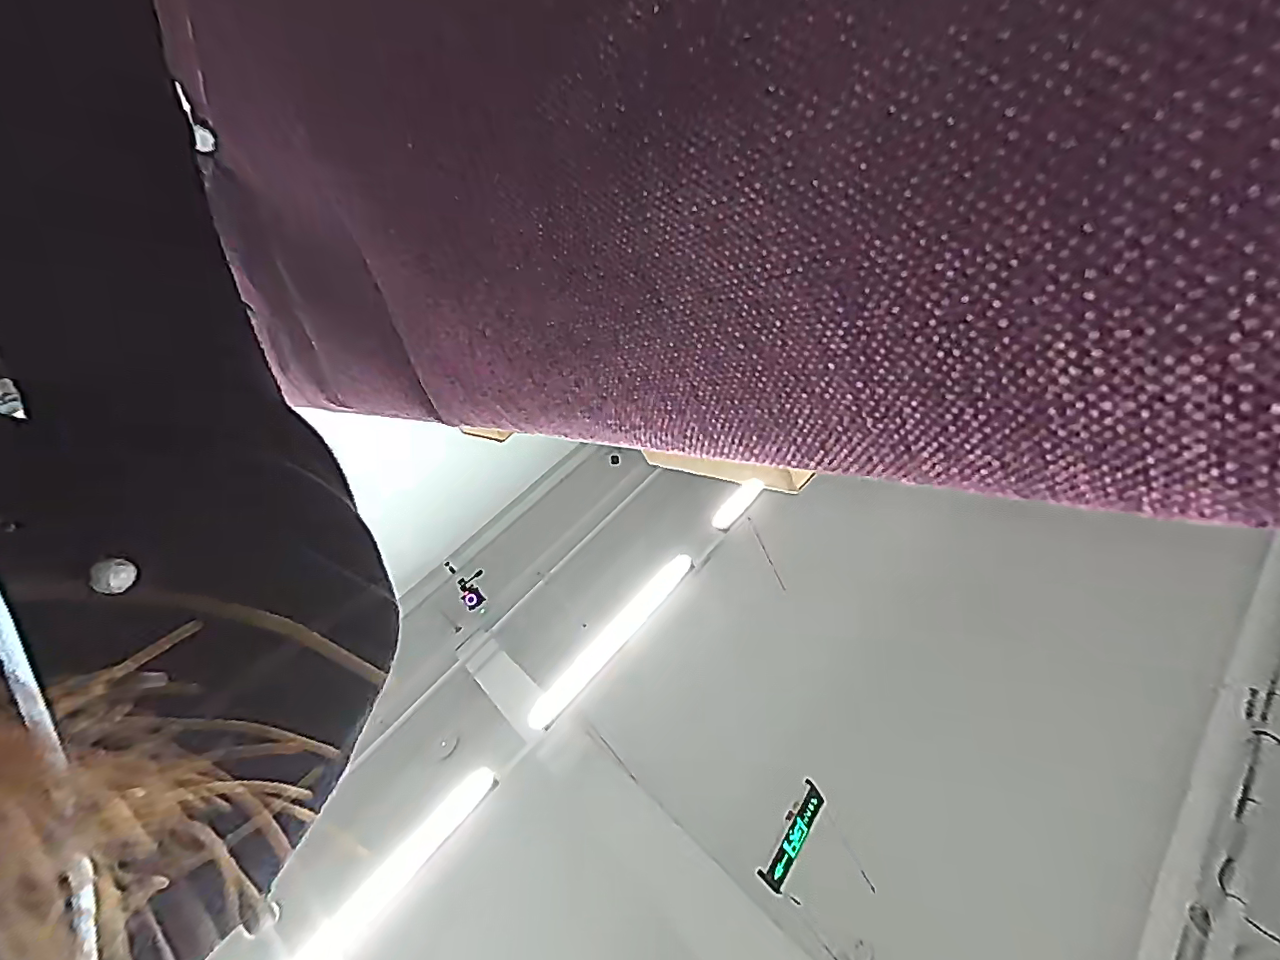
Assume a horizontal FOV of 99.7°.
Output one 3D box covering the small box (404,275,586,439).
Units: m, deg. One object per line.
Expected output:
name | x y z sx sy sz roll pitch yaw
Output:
small box | -0.219 -0.181 0.803 0.168 0.176 0.179 -44 -149 -22
